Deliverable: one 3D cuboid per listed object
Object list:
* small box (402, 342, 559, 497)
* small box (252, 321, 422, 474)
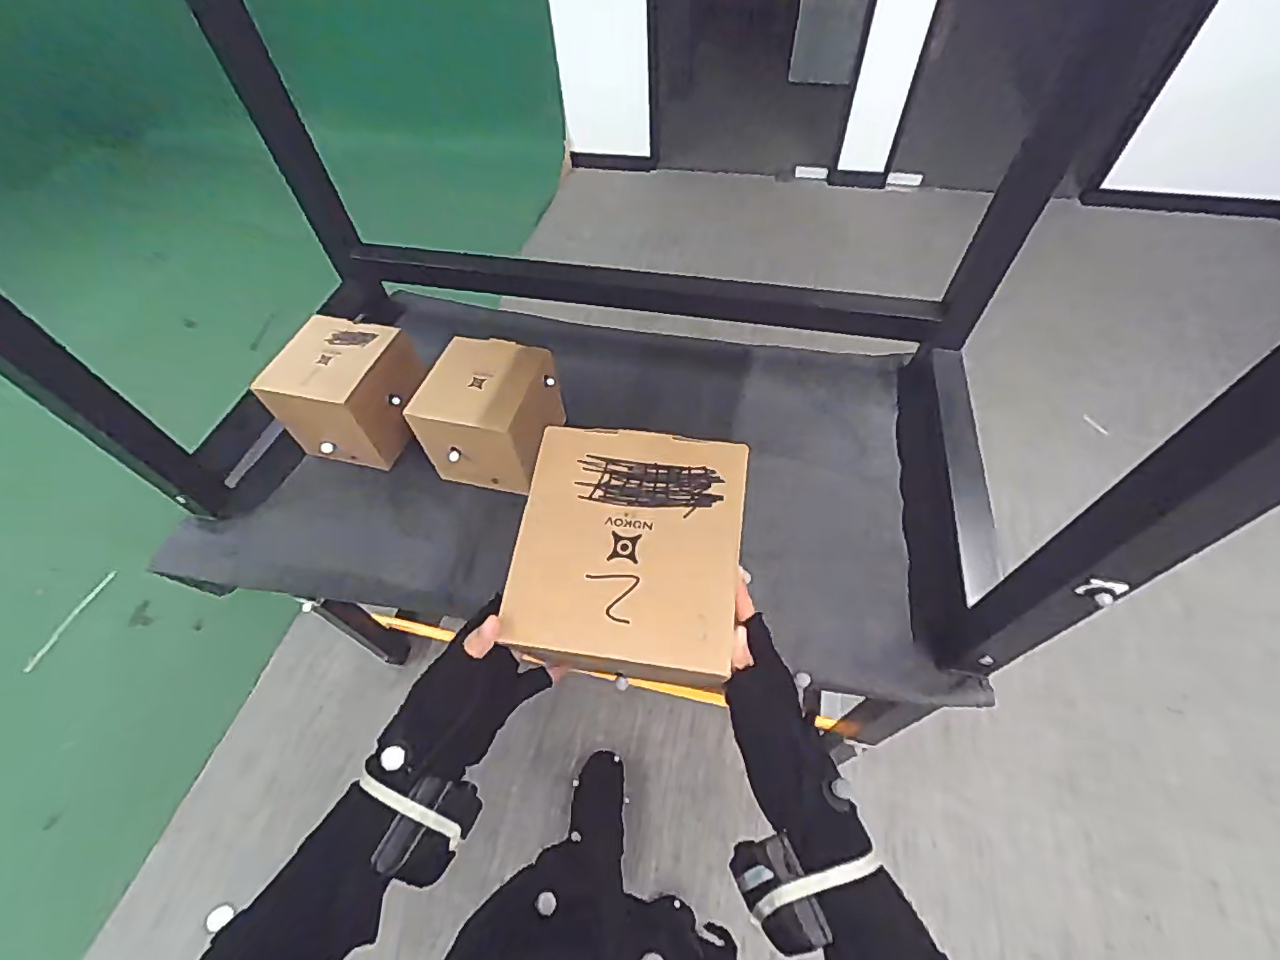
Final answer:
[{"bbox_3d":[-0.241,-0.094,0.874,0.168,0.176,0.179,10,55,10],"label":"small box"},{"bbox_3d":[-0.487,-0.138,0.914,0.168,0.176,0.179,10,56,10],"label":"small box"}]
